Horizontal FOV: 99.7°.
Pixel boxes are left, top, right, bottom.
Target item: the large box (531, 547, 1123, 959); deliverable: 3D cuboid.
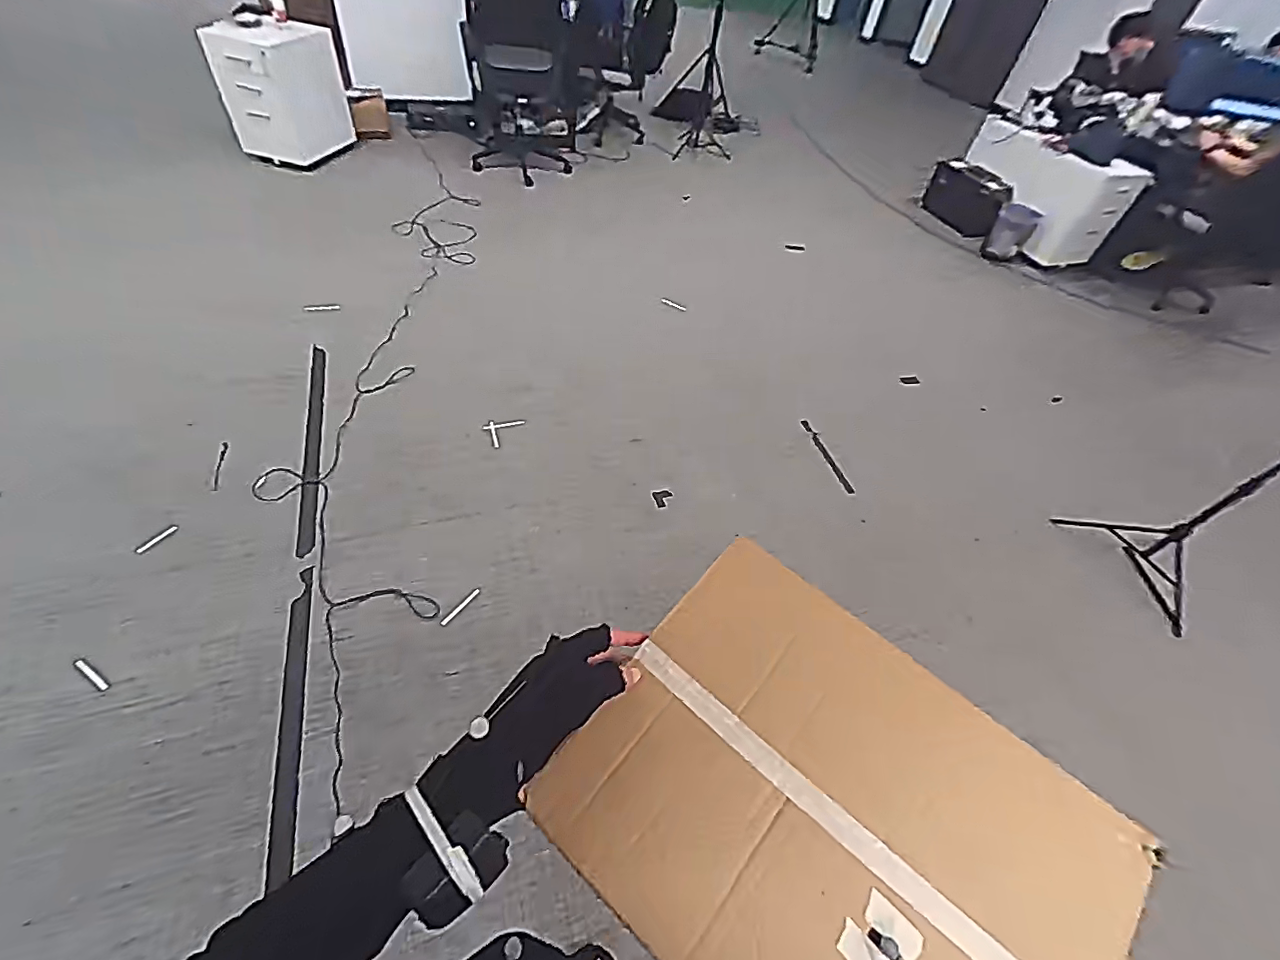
[{"bbox_3d":[0.148,0.350,0.575,0.408,0.320,0.320,37,66,19],"label":"large box"}]
